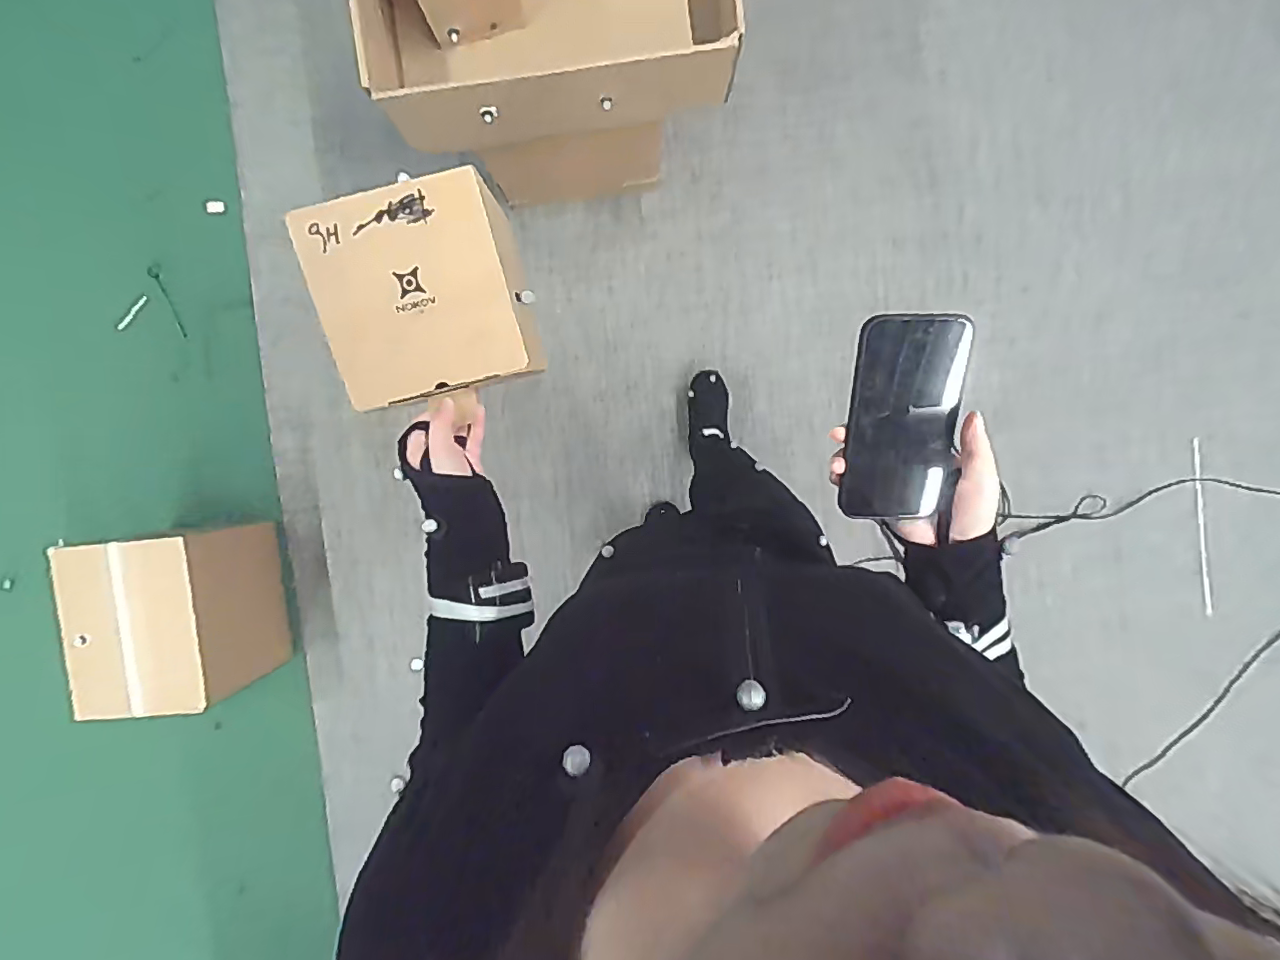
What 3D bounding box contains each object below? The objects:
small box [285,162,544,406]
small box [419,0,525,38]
[{"bbox_3d":[-0.203,-0.184,0.548,0.168,0.176,0.179,-14,102,0],"label":"small box"},{"bbox_3d":[-0.303,-0.884,0.896,0.168,0.176,0.179,-14,92,2],"label":"small box"}]
